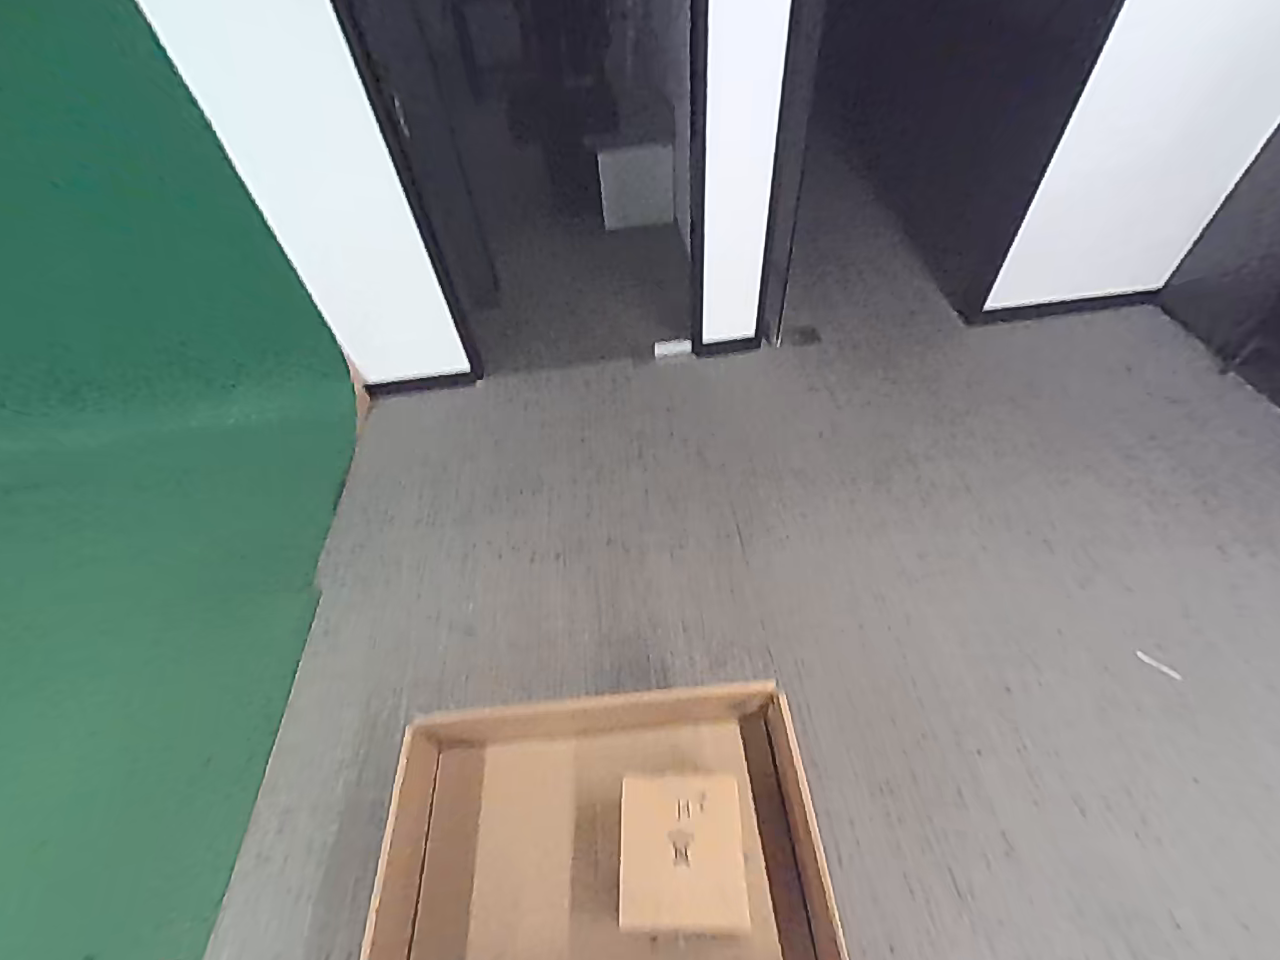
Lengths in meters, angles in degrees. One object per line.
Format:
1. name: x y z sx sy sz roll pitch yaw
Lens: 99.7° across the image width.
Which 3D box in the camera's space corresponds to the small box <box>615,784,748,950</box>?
1. small box: 0.059 0.547 0.764 0.168 0.176 0.179 -2 48 4
